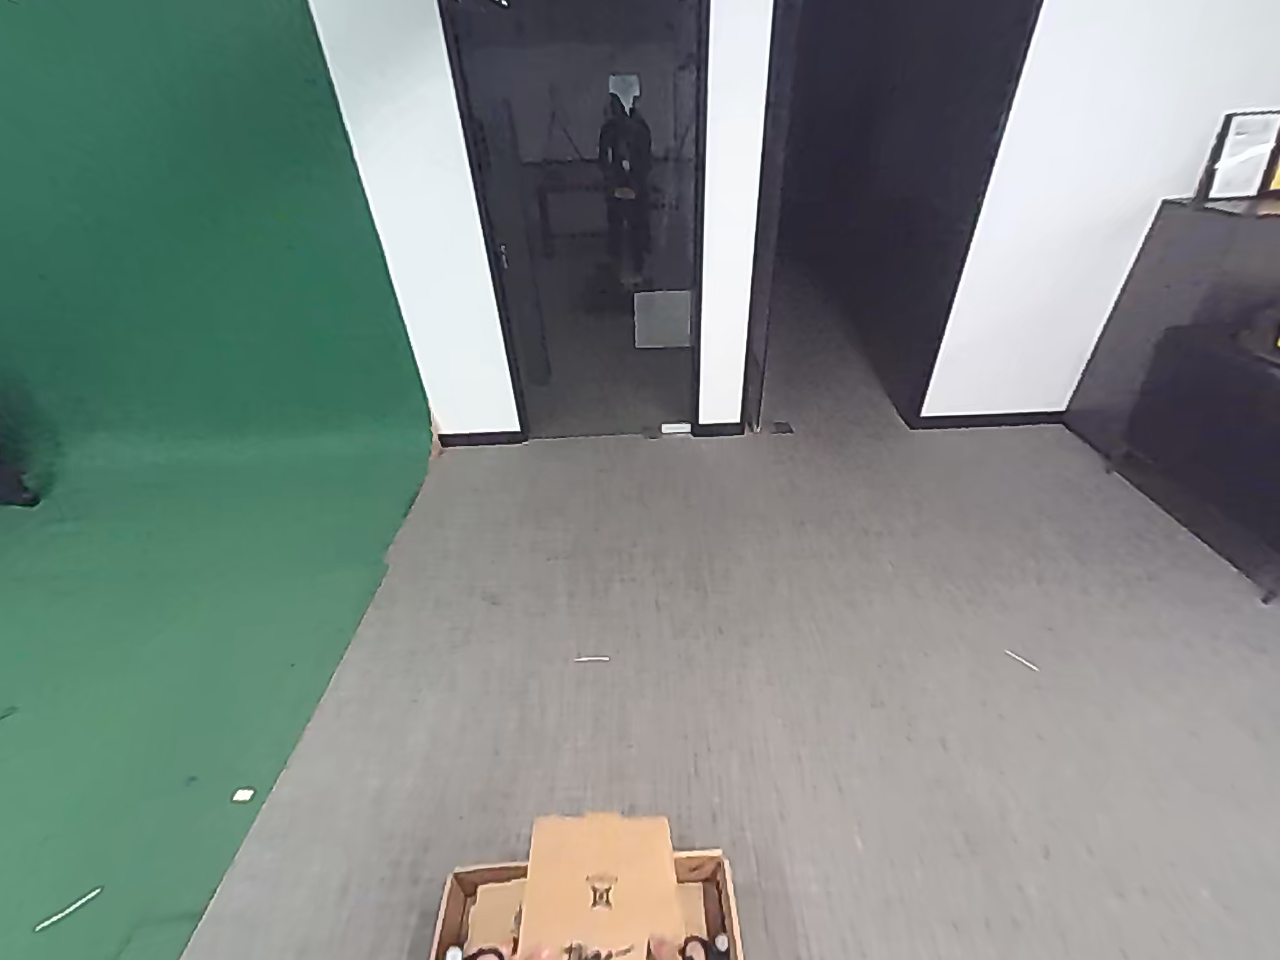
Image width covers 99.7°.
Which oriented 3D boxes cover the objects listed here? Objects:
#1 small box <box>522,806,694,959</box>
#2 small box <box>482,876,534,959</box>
[{"bbox_3d":[-0.039,0.504,0.606,0.168,0.176,0.179,2,18,-4],"label":"small box"},{"bbox_3d":[-0.189,0.858,0.994,0.168,0.176,0.179,-4,38,-5],"label":"small box"}]
